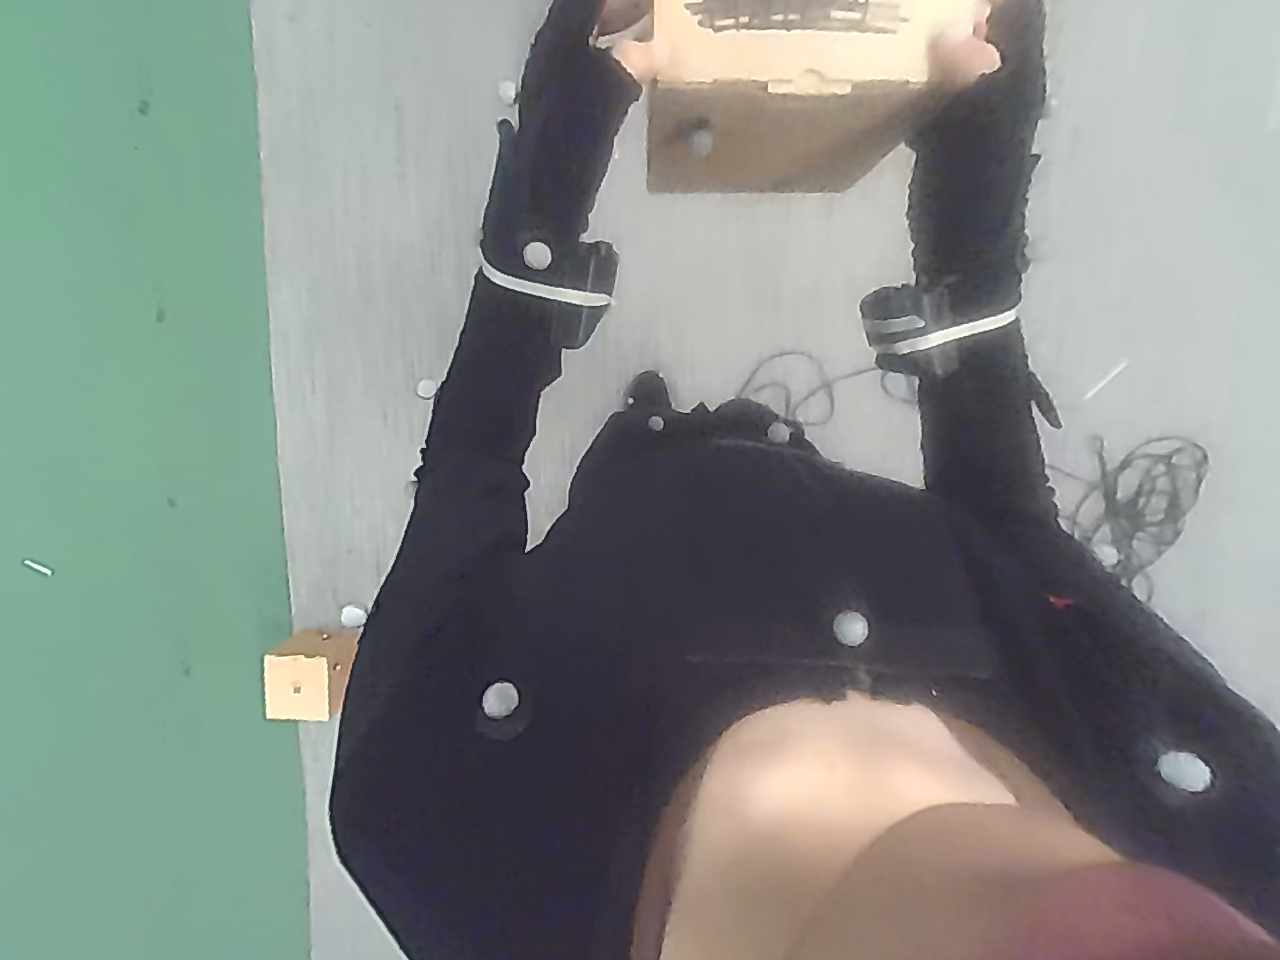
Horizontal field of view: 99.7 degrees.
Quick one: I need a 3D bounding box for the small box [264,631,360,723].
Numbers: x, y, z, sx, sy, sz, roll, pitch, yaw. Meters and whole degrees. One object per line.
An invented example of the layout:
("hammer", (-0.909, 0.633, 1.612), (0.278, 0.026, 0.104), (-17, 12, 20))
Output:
("small box", (-0.875, 0.526, 1.457), (0.168, 0.176, 0.179), (2, 97, -1))
